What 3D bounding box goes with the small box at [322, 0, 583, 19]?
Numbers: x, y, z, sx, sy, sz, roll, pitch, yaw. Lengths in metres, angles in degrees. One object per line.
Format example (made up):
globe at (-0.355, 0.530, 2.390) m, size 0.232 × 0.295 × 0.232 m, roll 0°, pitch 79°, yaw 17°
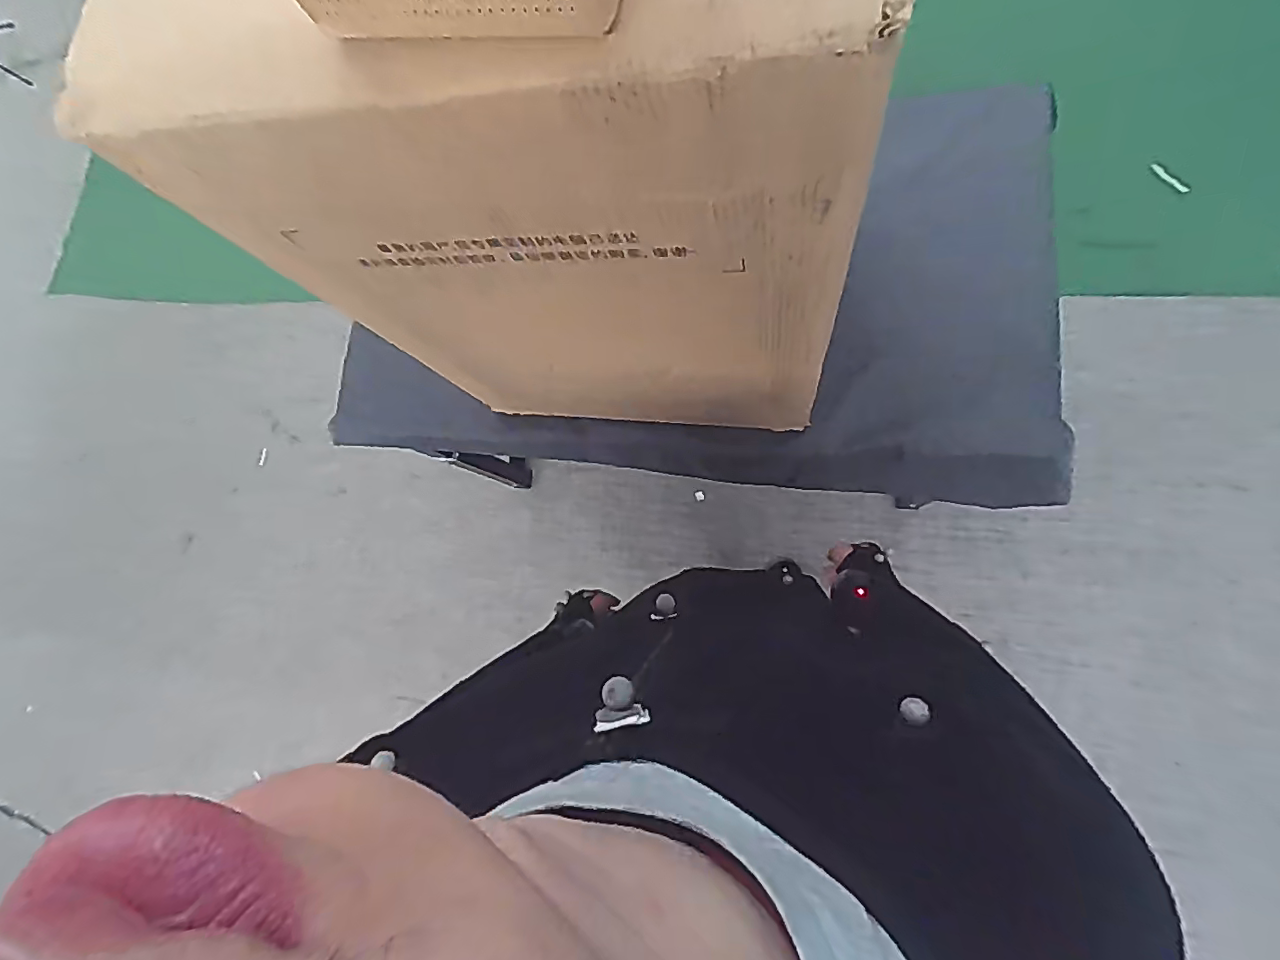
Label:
small box at (-0.098, -0.334, 0.218) m, size 0.179 × 0.176 × 0.168 m, roll 12°, pitch 83°, yaw 14°
